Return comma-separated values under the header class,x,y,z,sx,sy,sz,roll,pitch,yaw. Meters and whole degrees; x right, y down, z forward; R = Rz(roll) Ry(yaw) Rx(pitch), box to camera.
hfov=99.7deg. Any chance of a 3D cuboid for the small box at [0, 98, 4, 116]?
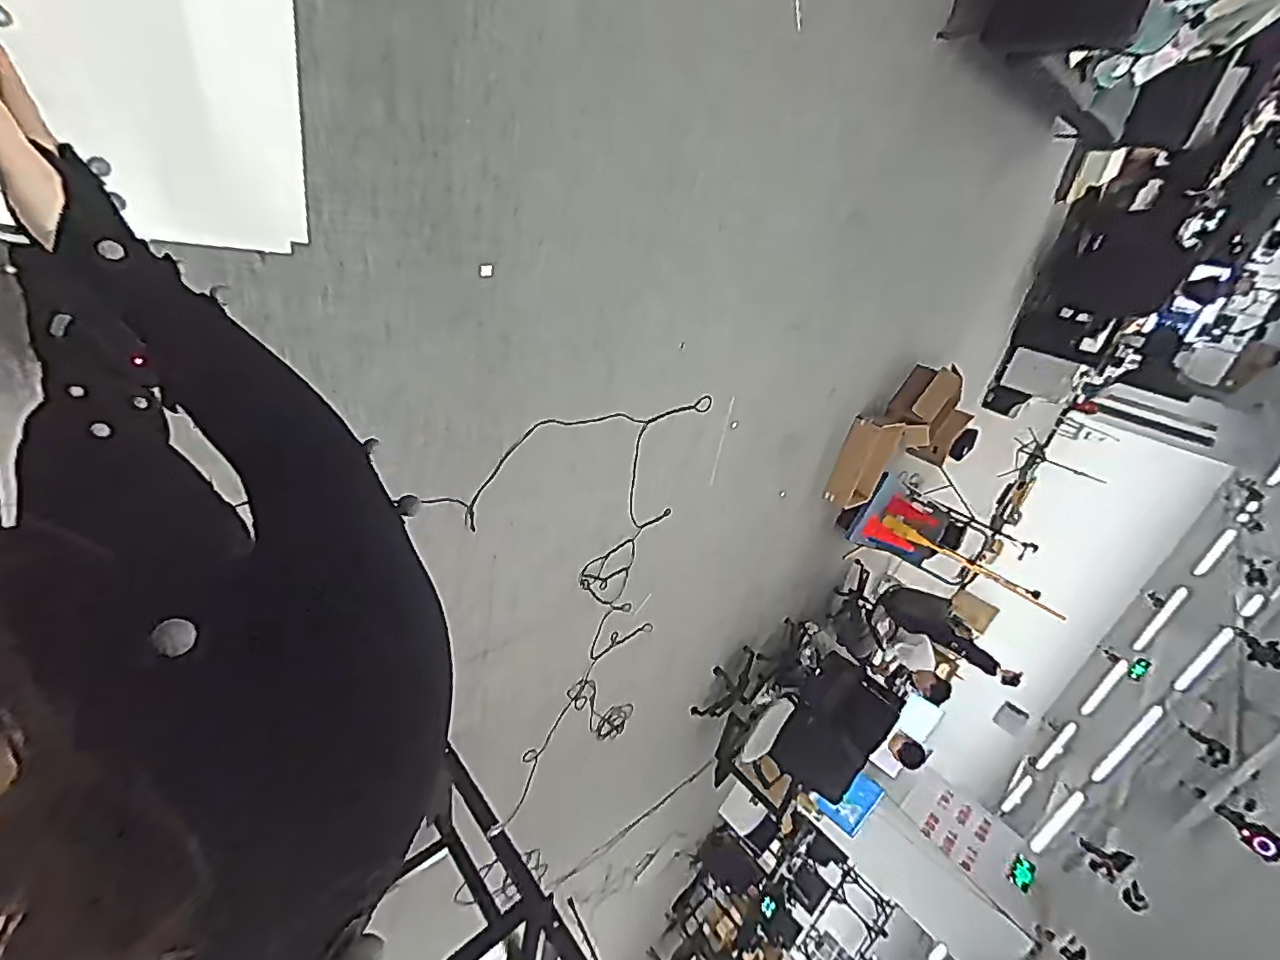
class,x,y,z,sx,sy,sz,roll,pitch,yaw
small box,-0.510,-0.315,0.302,0.179,0.176,0.168,-12,119,-44
